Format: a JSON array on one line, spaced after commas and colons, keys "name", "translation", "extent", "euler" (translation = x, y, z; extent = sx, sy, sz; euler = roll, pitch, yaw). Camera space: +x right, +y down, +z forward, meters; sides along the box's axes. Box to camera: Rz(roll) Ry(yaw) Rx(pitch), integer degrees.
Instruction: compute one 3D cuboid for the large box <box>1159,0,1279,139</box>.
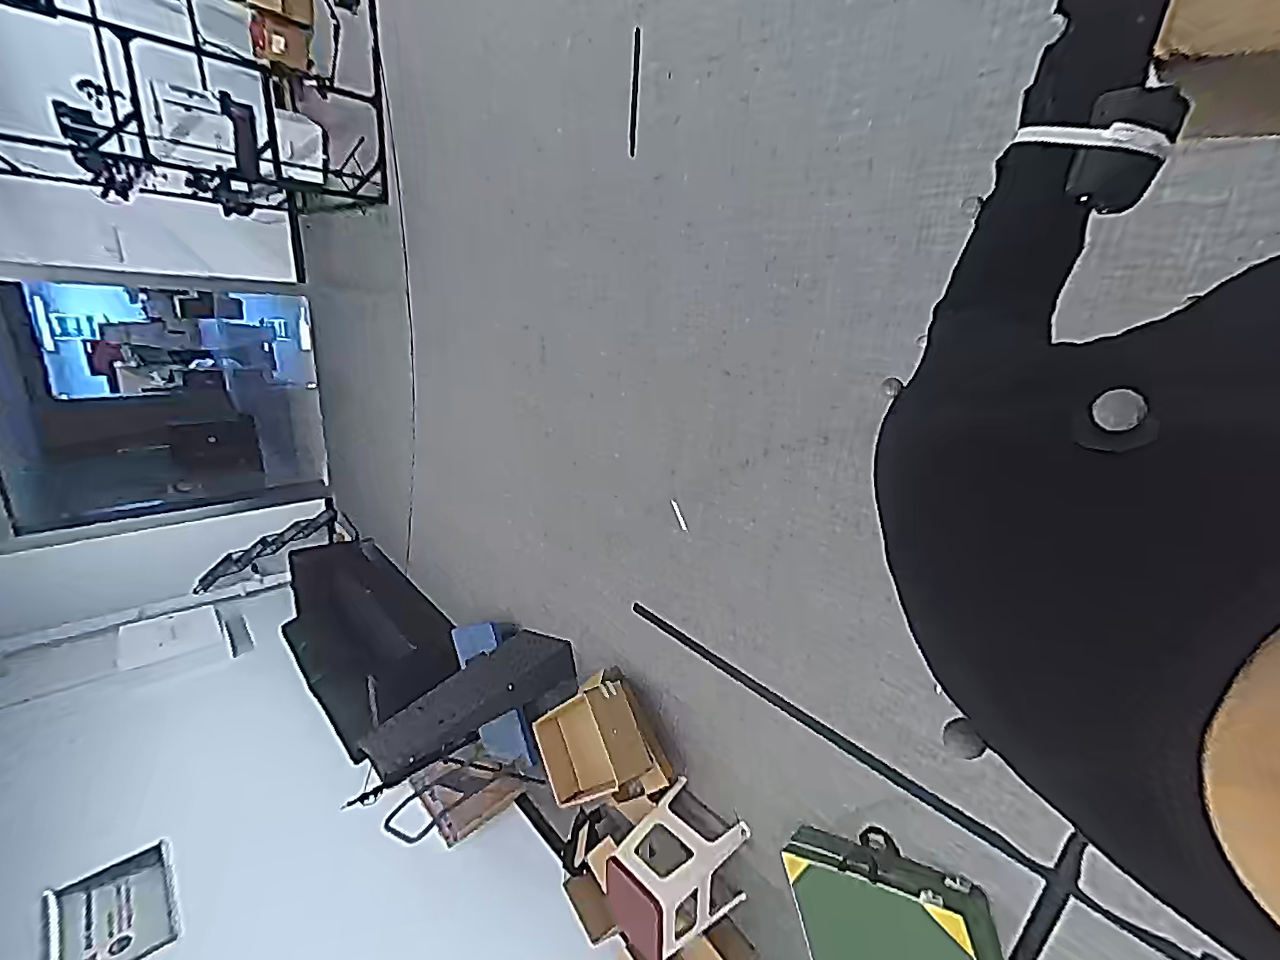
[{"name": "large box", "translation": [0.581, -0.382, 0.265], "extent": [0.408, 0.320, 0.320], "euler": [25, 123, 38]}]
